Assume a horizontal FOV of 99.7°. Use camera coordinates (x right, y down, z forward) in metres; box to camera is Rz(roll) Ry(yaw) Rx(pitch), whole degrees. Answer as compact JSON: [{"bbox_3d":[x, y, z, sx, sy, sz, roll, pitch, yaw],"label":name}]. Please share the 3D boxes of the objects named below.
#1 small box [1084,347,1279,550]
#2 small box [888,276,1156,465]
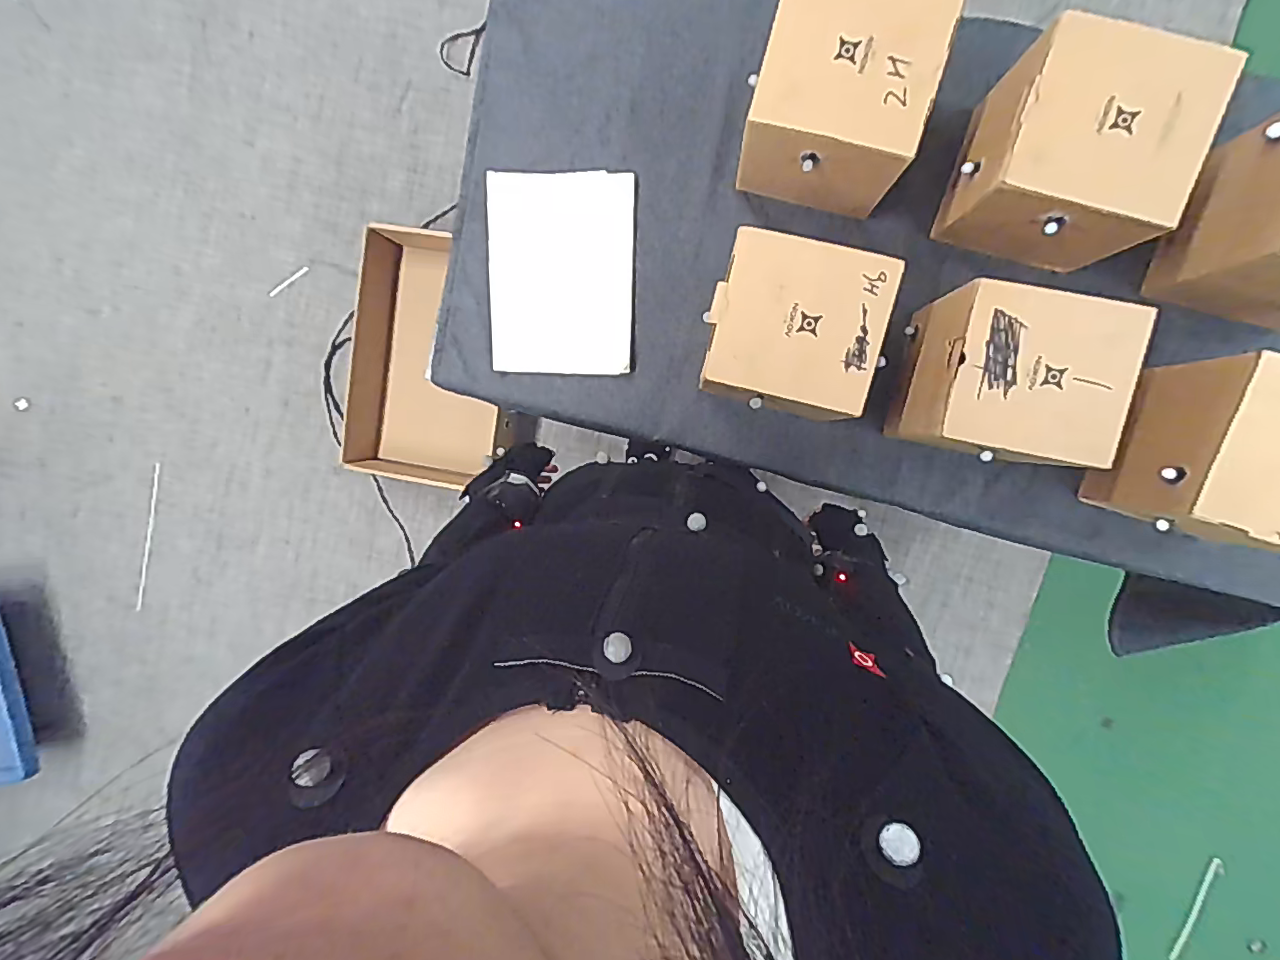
[{"bbox_3d":[0.661,-0.031,0.609,0.168,0.176,0.179,18,96,4],"label":"small box"},{"bbox_3d":[0.413,-0.116,0.622,0.179,0.176,0.168,11,96,3],"label":"small box"}]
